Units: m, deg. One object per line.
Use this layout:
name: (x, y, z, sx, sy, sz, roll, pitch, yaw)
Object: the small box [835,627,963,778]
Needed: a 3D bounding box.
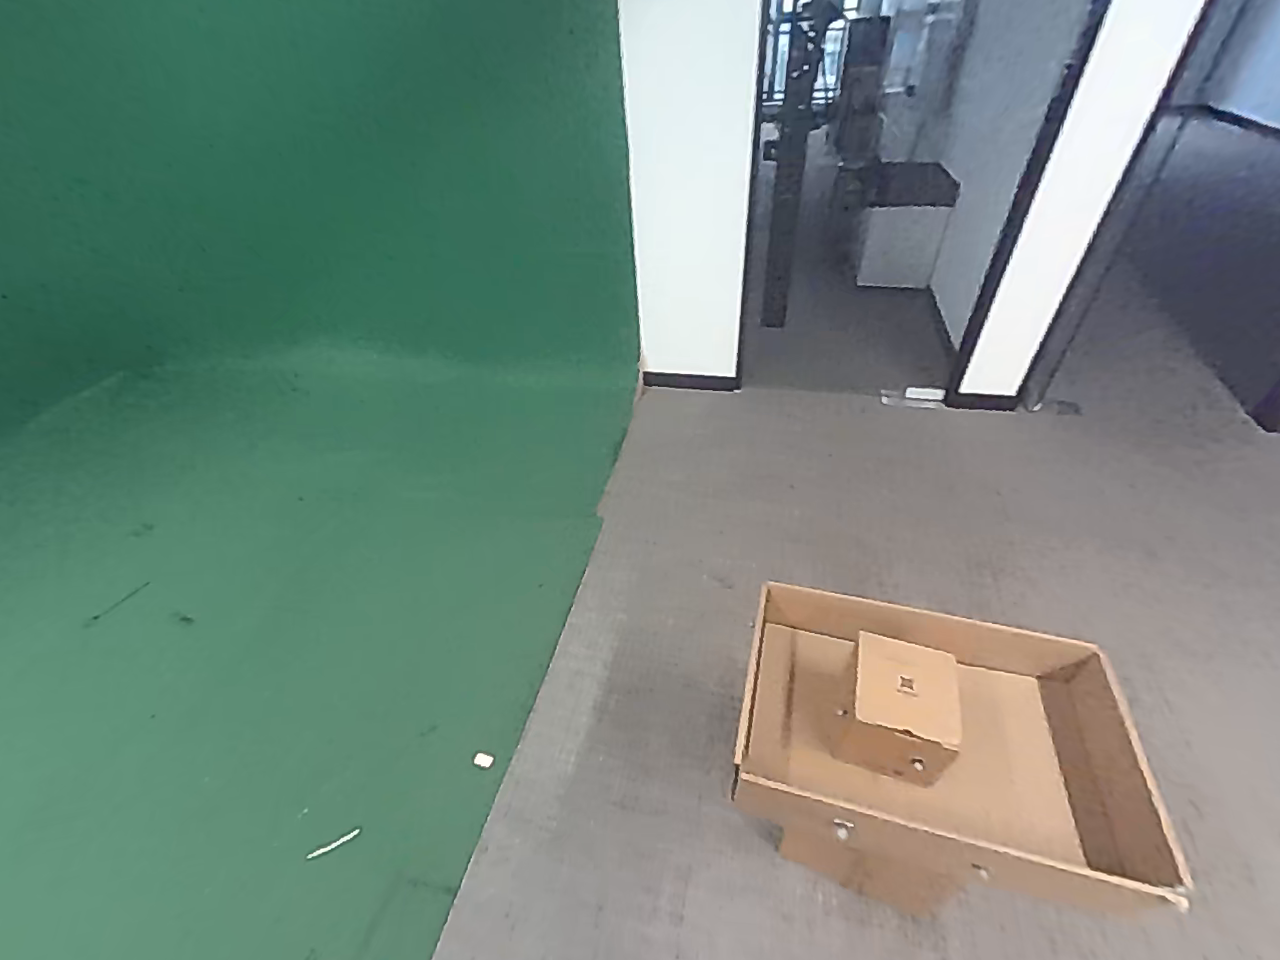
small box: (0.459, 0.404, 0.979, 0.168, 0.176, 0.179, 12, 43, 14)
